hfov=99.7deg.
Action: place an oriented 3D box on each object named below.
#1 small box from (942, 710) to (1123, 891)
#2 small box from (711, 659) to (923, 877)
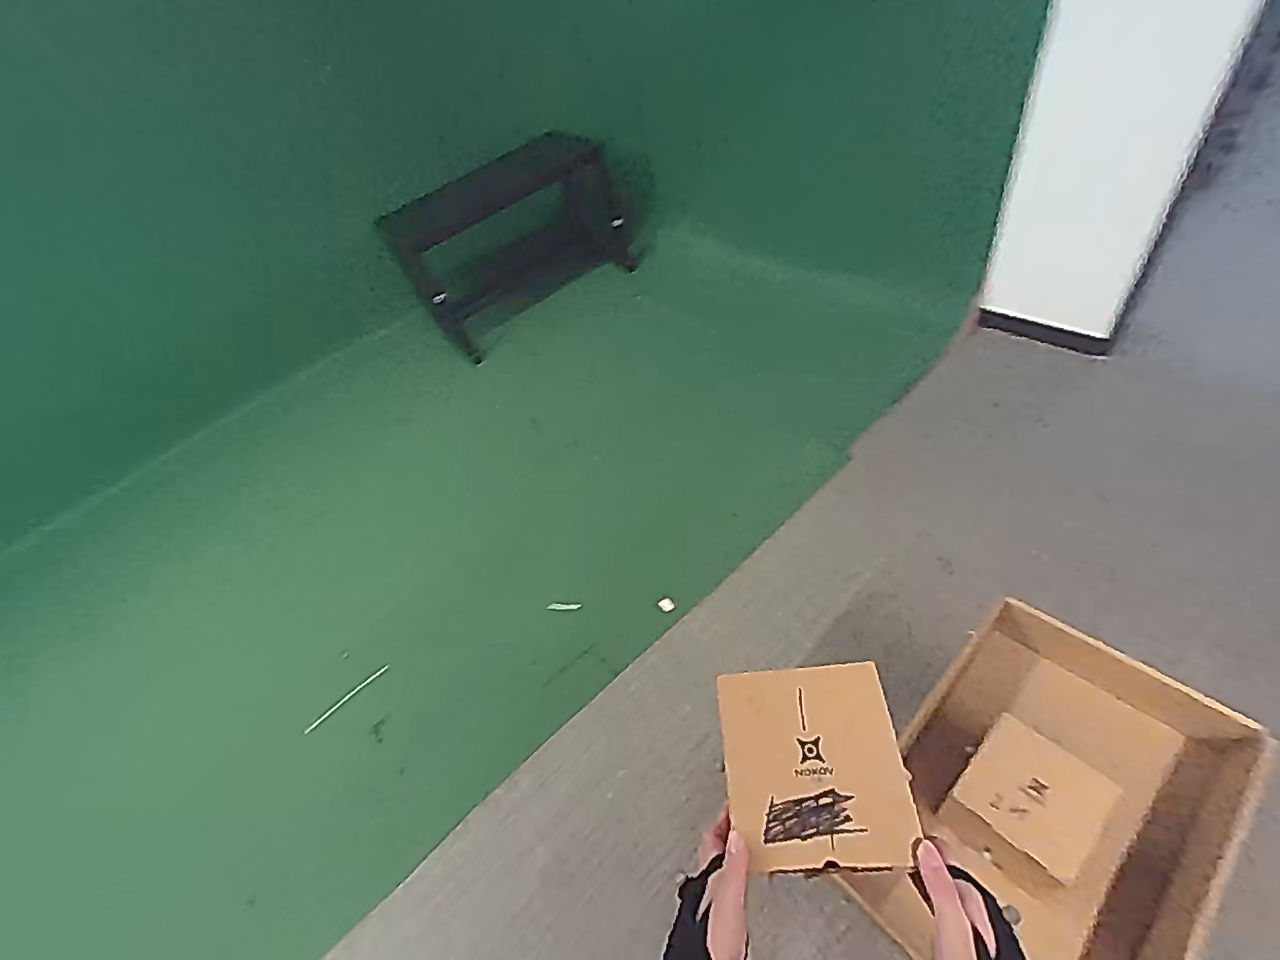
[{"bbox_3d":[0.623,0.522,0.881,0.179,0.176,0.168,-41,49,-19],"label":"small box"},{"bbox_3d":[0.173,0.309,0.577,0.168,0.176,0.179,-8,54,7],"label":"small box"}]
